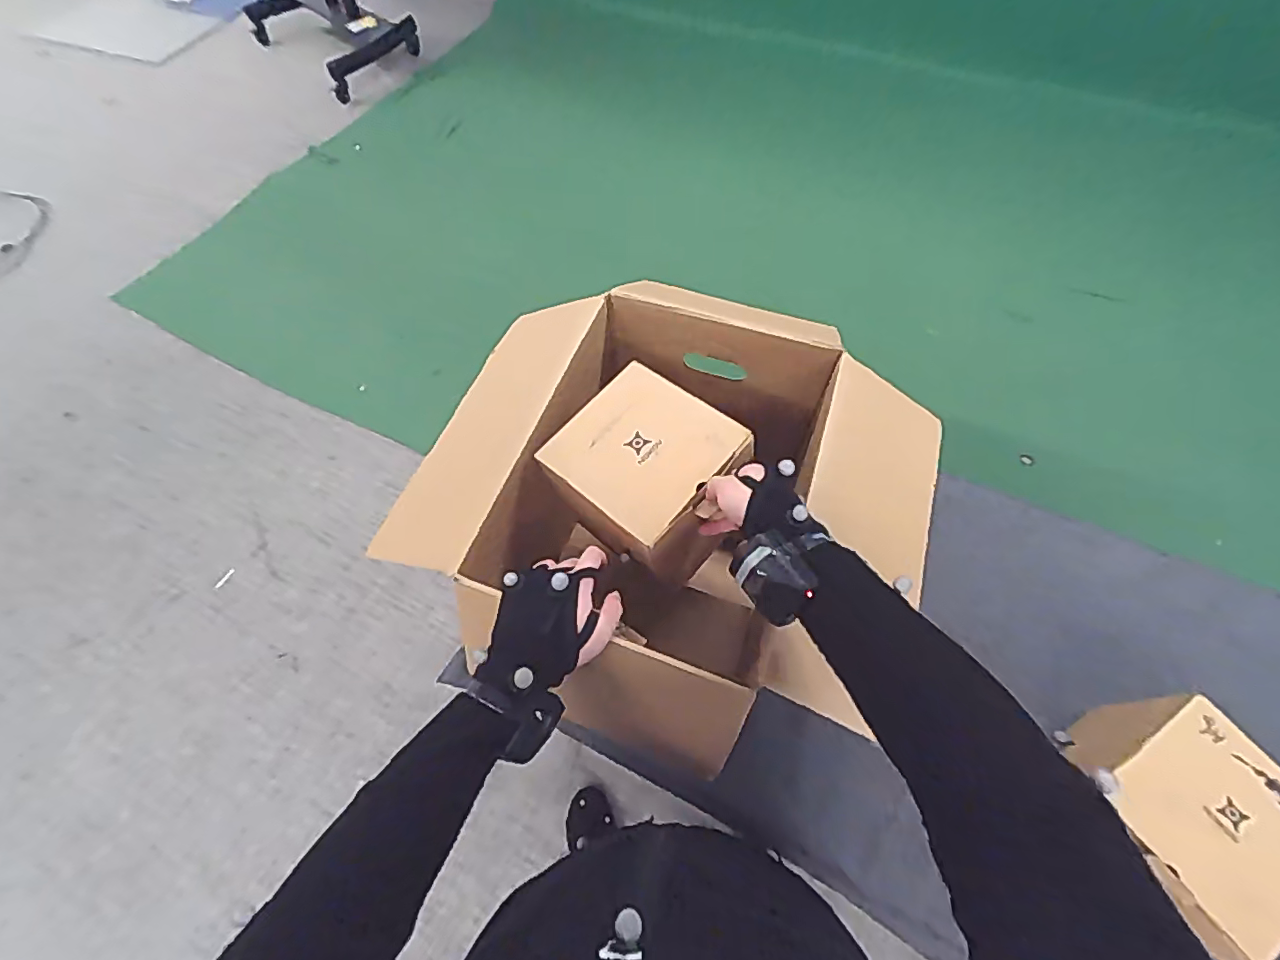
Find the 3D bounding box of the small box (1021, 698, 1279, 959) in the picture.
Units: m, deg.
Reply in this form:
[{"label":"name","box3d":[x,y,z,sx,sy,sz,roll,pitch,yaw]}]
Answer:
[{"label":"small box","box3d":[0.572,0.371,0.598,0.179,0.176,0.168,-28,63,-12]}]
